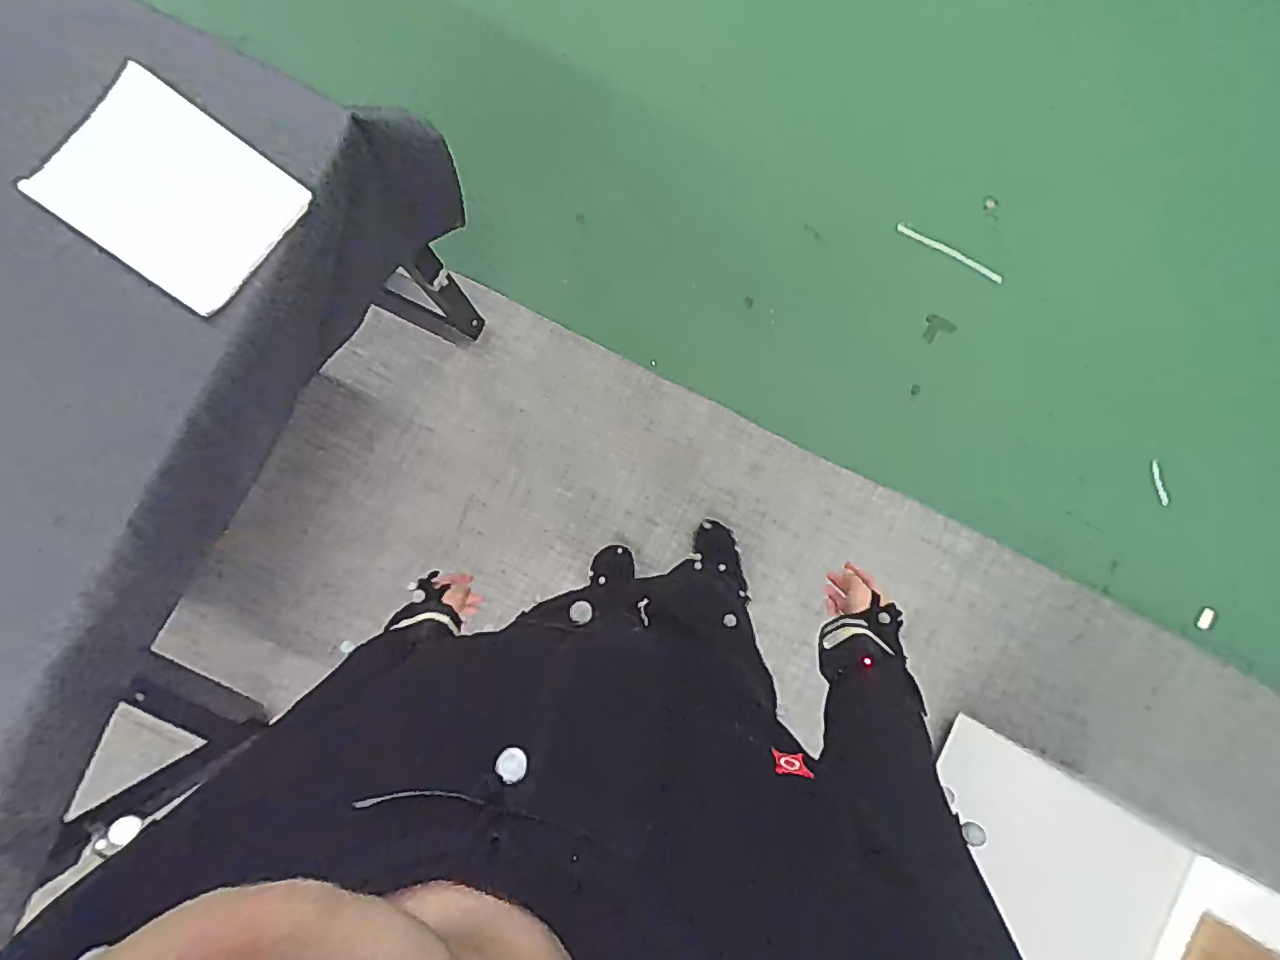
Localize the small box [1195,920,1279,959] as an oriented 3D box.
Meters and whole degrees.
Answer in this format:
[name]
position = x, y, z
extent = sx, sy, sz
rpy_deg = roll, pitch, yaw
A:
[small box]
position = 0.851, 0.718, 0.685
extent = 0.179, 0.176, 0.168
rpy_deg = 28, 87, -2
